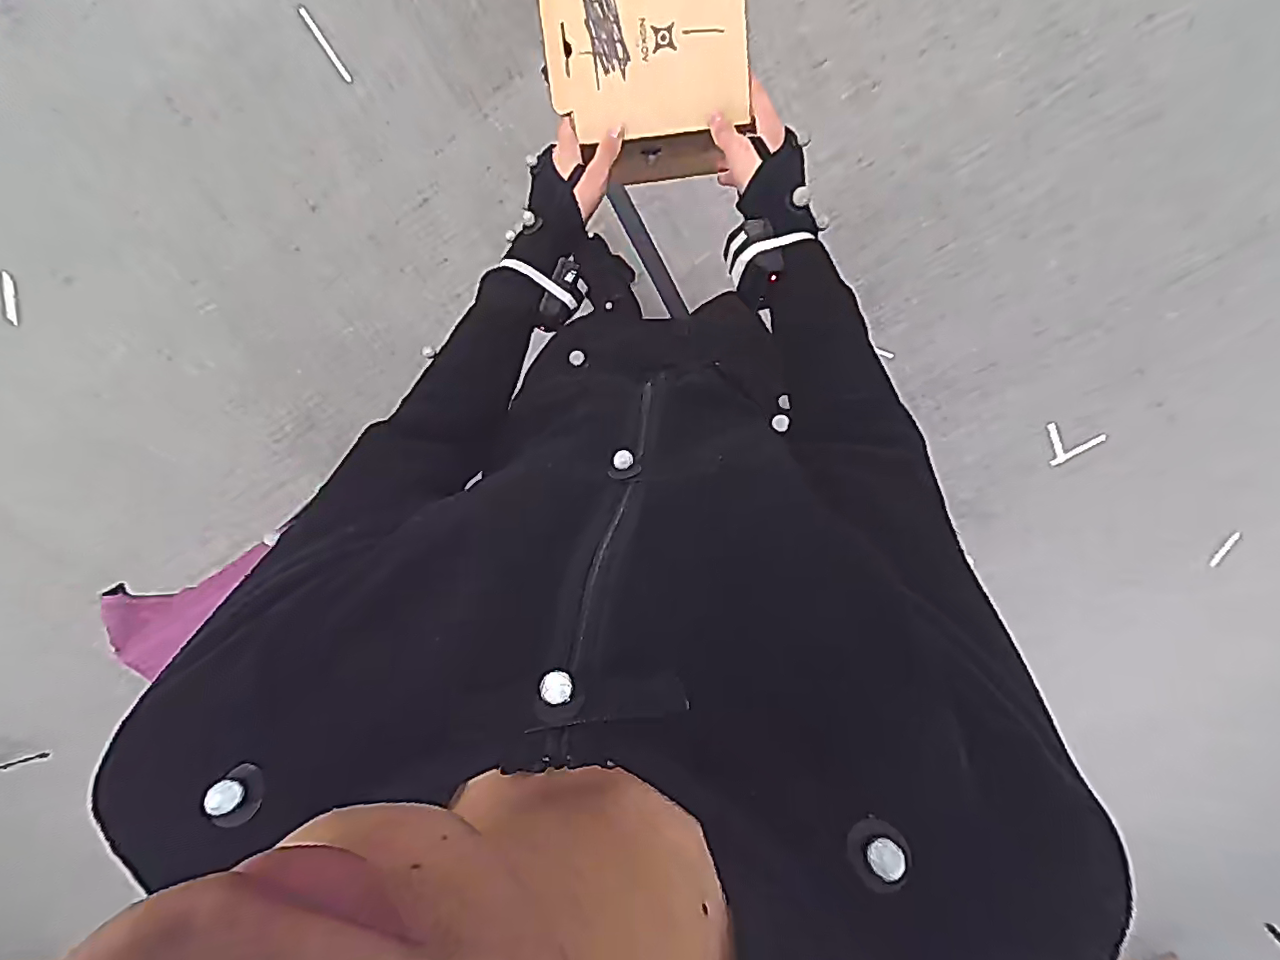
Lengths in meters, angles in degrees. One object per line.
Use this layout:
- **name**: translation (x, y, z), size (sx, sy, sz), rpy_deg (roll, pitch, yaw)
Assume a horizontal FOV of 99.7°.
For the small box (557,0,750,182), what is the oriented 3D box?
- **small box**: translation (0.014, -0.439, 0.585), size (0.179, 0.176, 0.168), rpy_deg (-6, 105, 2)
